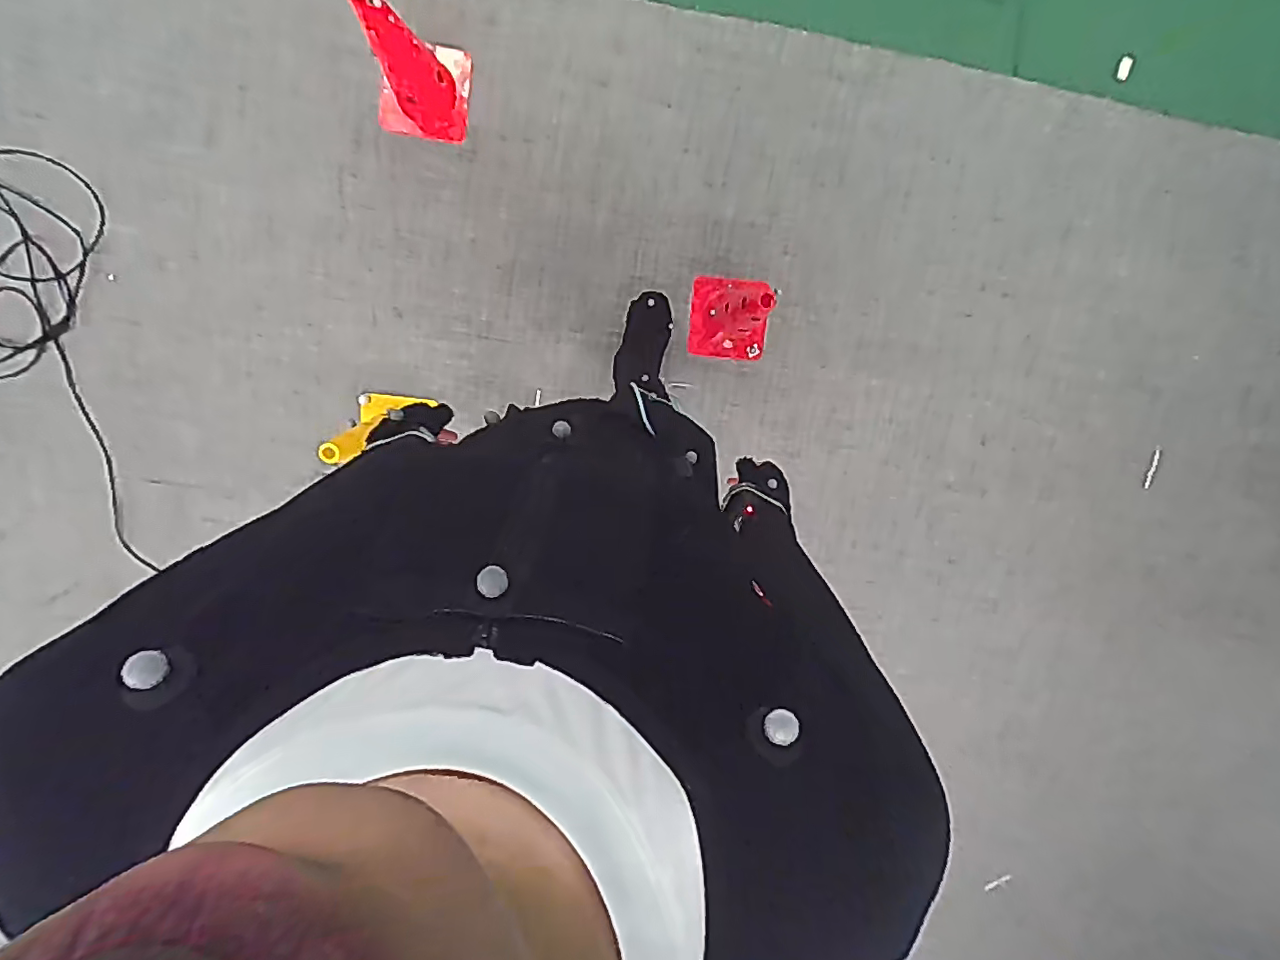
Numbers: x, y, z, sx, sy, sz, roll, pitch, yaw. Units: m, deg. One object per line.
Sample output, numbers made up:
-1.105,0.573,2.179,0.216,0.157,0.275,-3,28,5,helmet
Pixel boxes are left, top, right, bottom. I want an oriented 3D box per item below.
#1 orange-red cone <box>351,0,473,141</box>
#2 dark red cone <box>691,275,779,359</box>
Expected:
-0.494,-0.882,1.102,0.198,0.360,0.199,9,101,-3,orange-red cone
0.239,-0.384,1.207,0.202,0.394,0.201,3,99,-3,dark red cone
